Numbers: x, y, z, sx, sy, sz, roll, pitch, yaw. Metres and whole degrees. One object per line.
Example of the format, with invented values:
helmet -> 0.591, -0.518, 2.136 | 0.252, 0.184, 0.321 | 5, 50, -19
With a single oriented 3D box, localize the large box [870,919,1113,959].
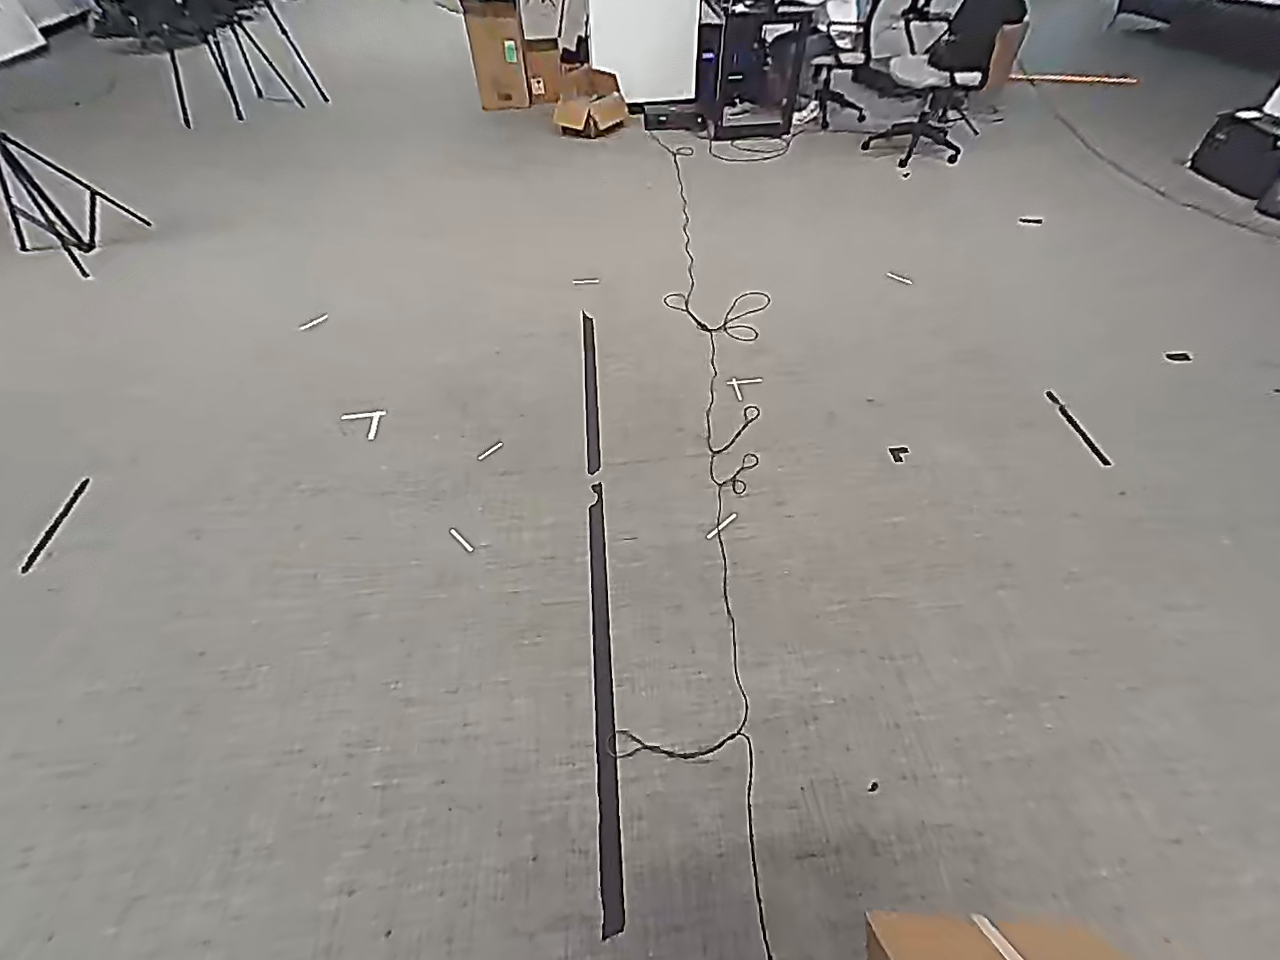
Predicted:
large box -> 0.467, 0.760, 0.556 | 0.320, 0.408, 0.320 | 1, 82, 3
